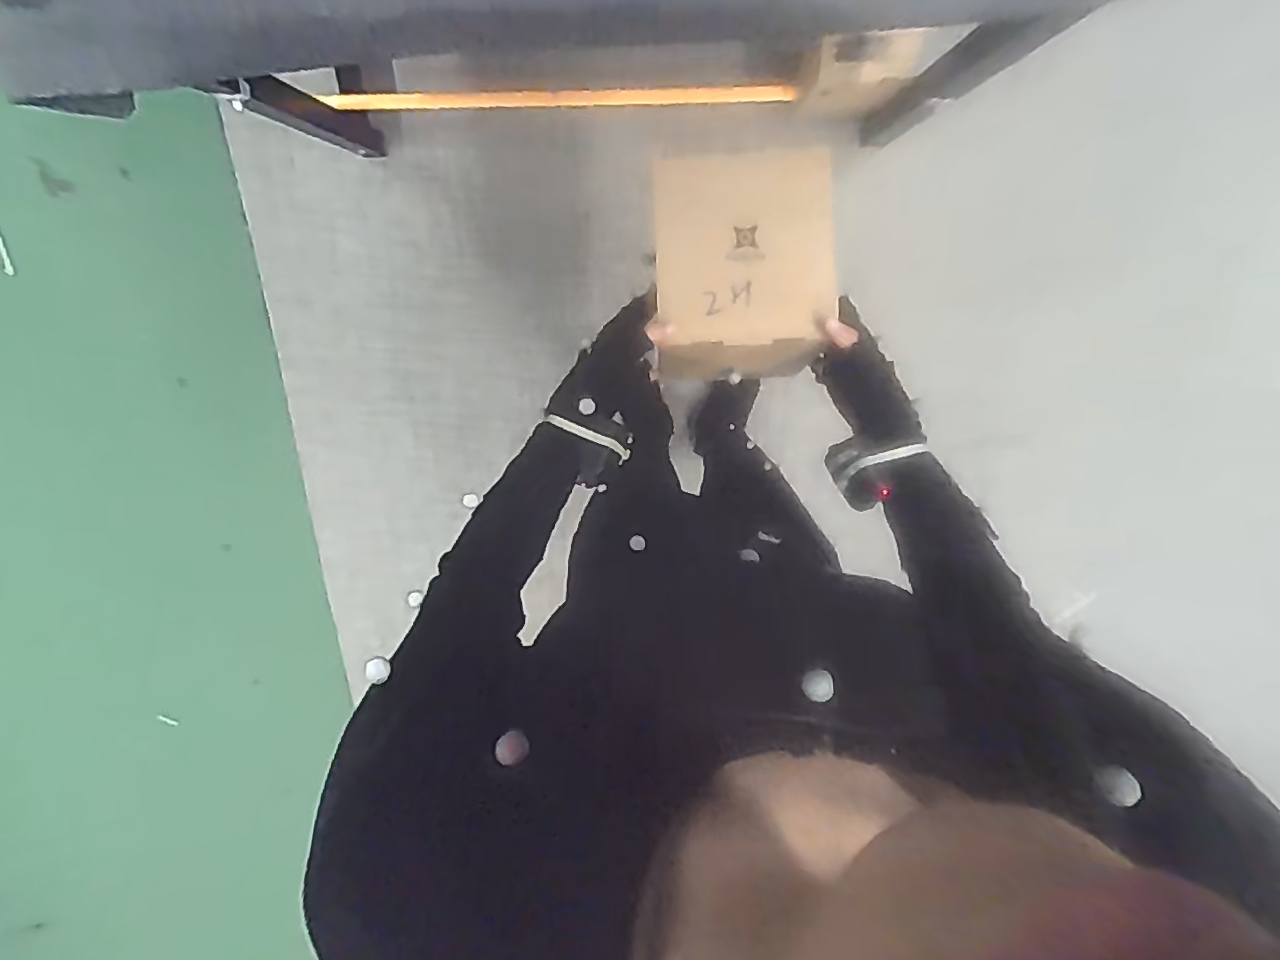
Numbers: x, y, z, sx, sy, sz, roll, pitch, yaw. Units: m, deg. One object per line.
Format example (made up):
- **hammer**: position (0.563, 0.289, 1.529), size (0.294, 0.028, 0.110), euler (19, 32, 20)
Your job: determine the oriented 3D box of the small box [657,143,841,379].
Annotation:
- **small box**: position (0.102, -0.214, 0.570), size (0.168, 0.176, 0.179), euler (-2, 88, 4)
